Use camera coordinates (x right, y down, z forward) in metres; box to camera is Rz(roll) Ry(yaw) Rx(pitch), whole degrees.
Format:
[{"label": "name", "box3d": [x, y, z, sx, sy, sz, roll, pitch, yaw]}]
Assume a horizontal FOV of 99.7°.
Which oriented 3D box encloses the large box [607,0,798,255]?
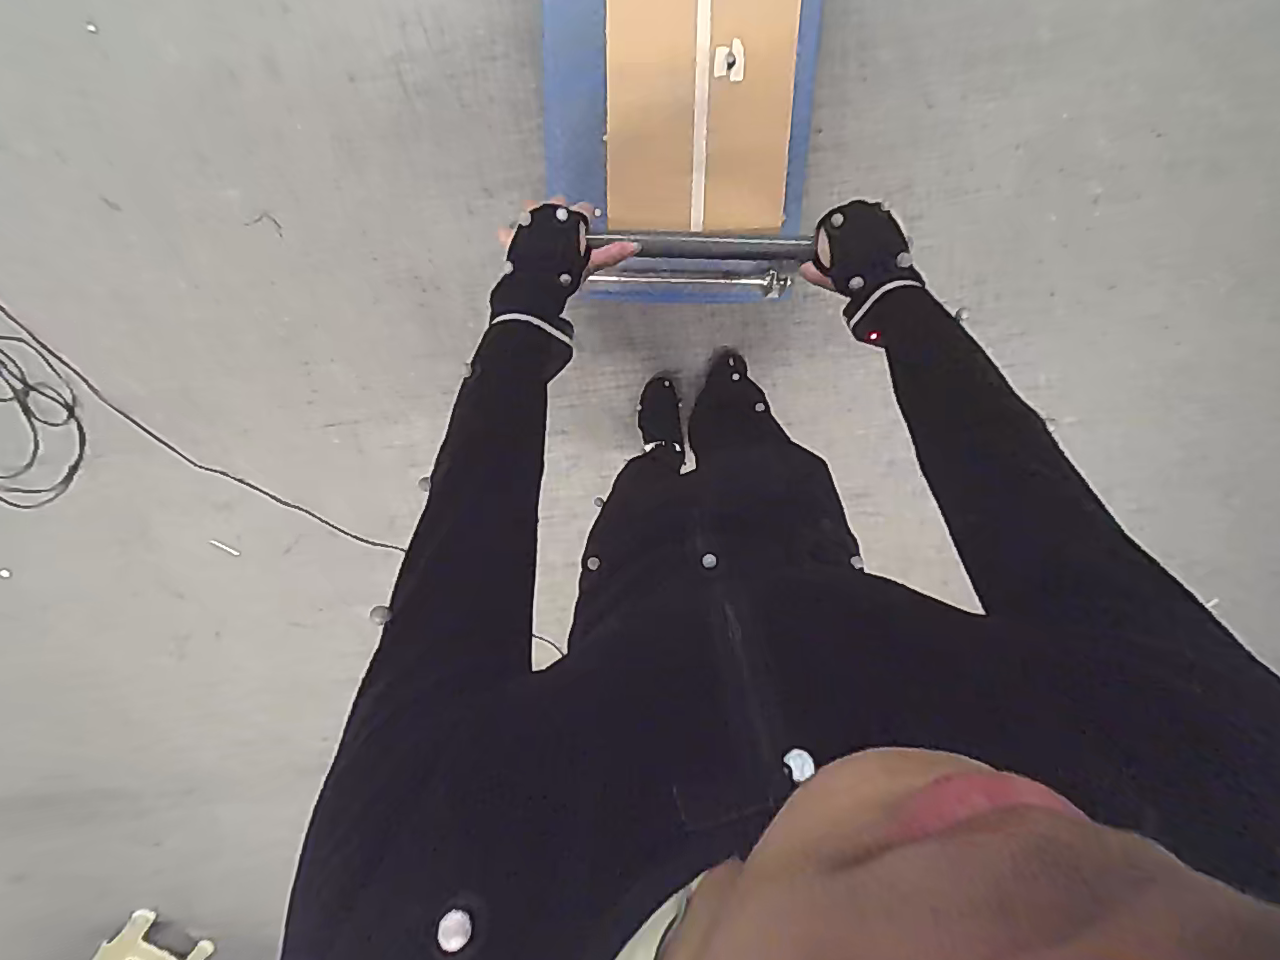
[{"label": "large box", "box3d": [0.103, -0.669, 1.054, 0.320, 0.320, 0.408, 1, 107, -1]}]
